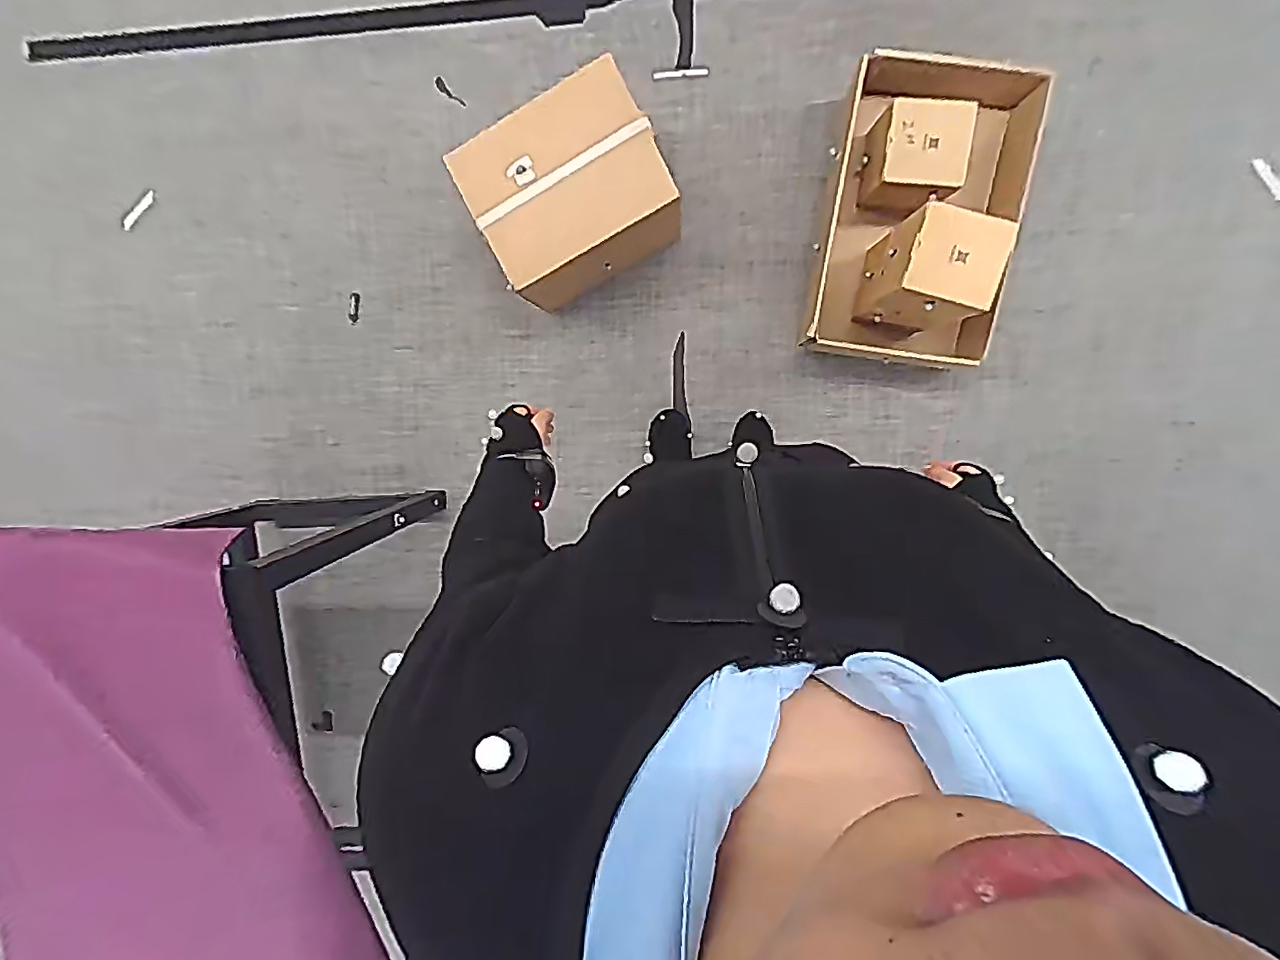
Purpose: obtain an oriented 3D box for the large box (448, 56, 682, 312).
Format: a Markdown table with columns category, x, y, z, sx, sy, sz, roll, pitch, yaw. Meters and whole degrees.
| category | x | y | z | sx | sy | sz | roll | pitch | yaw |
| --- | --- | --- | --- | --- | --- | --- | --- | --- | --- |
| large box | -0.147 | -0.644 | 1.261 | 0.408 | 0.320 | 0.320 | -28 | 95 | 9 |
